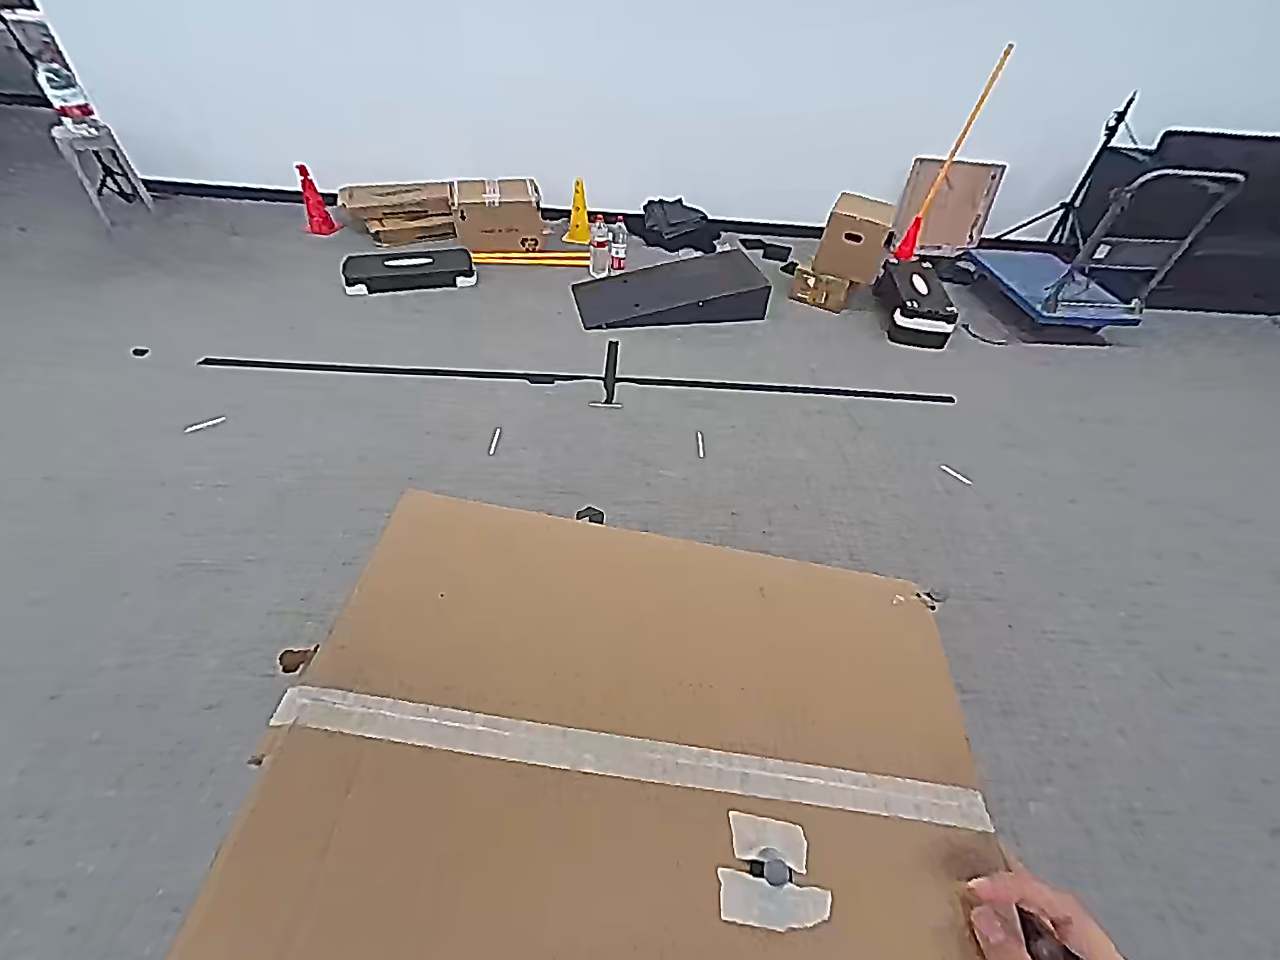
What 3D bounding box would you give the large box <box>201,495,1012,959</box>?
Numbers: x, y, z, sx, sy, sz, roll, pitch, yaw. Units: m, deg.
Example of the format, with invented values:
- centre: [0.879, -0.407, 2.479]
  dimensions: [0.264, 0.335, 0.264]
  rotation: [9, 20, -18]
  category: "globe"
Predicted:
- centre: [-0.015, 0.254, 0.437]
  dimensions: [0.408, 0.320, 0.320]
  rotation: [12, 50, -4]
  category: "large box"
